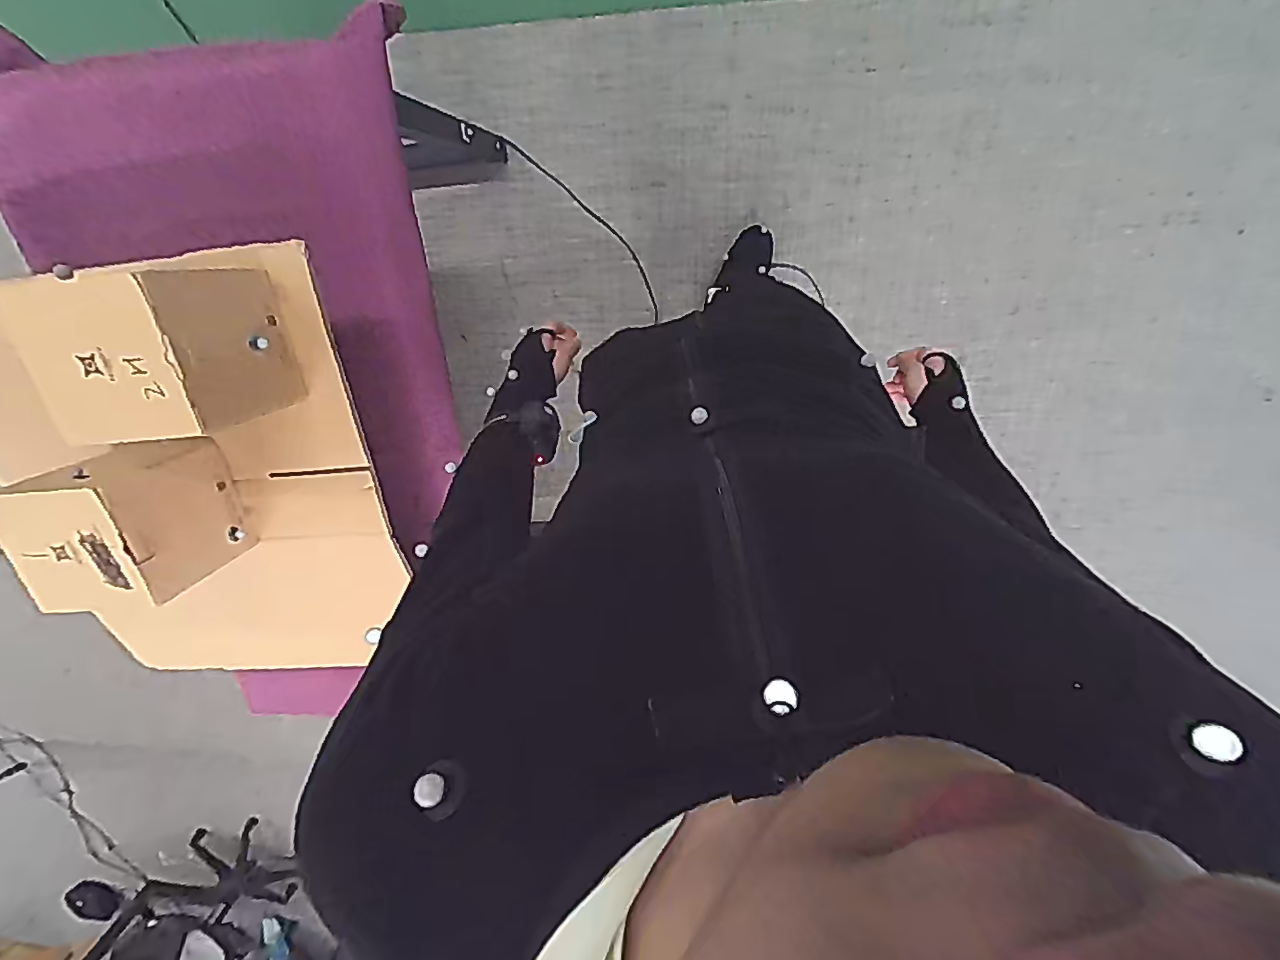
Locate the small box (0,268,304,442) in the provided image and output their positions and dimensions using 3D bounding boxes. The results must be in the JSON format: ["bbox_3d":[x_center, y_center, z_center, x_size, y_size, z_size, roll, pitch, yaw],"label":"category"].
[{"bbox_3d":[-0.539,-0.148,0.621,0.179,0.176,0.168,-3,112,7],"label":"small box"}]

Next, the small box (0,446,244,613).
[{"bbox_3d":[-0.676,0.058,0.719,0.179,0.176,0.168,-3,111,8],"label":"small box"}]
